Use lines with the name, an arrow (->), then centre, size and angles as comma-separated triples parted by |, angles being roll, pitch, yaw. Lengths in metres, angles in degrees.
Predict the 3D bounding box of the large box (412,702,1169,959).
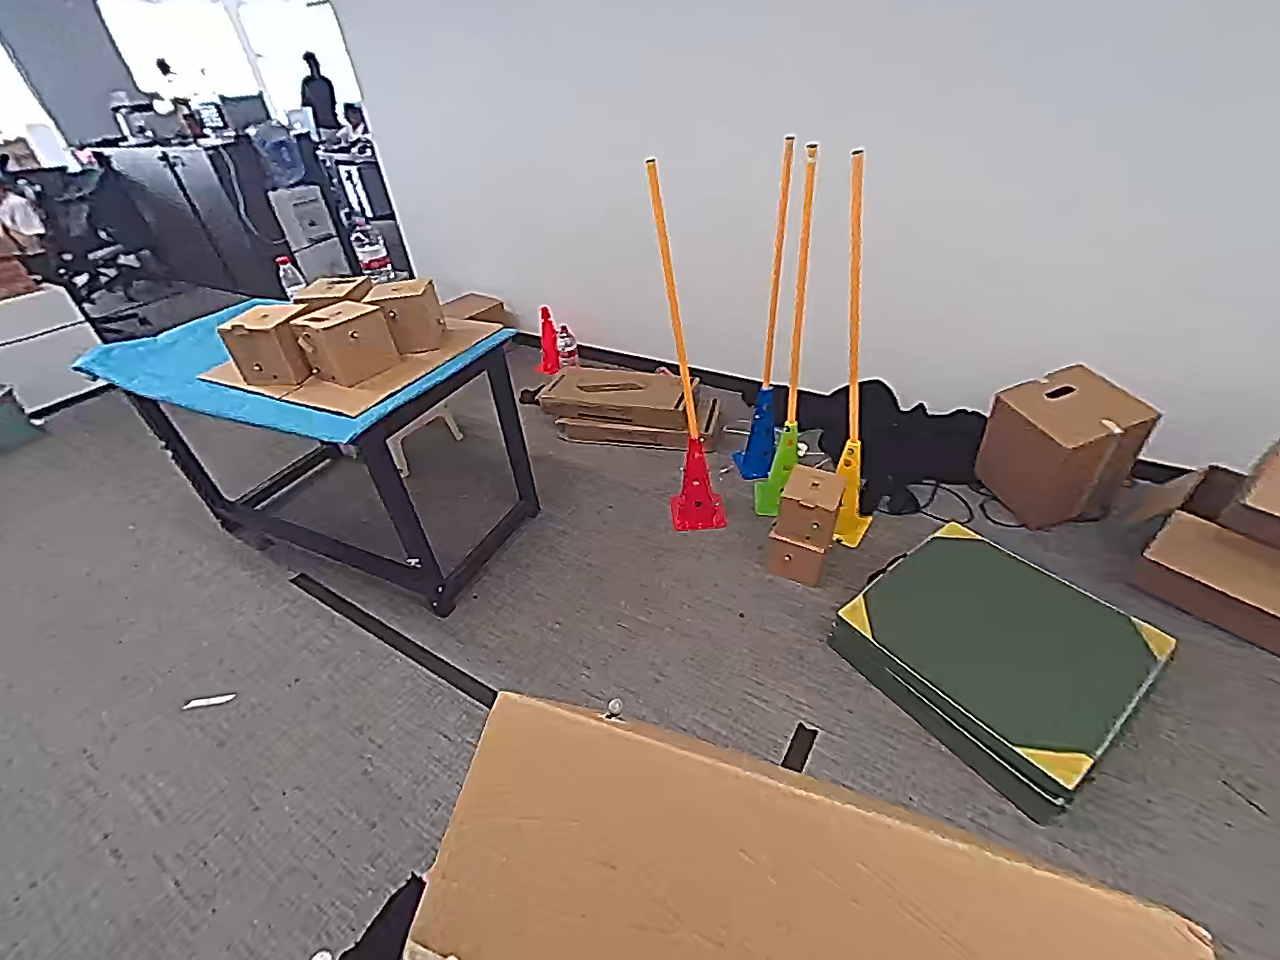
large box -> 0.072, 0.392, 0.412 | 0.408, 0.320, 0.320 | 11, 68, 17
